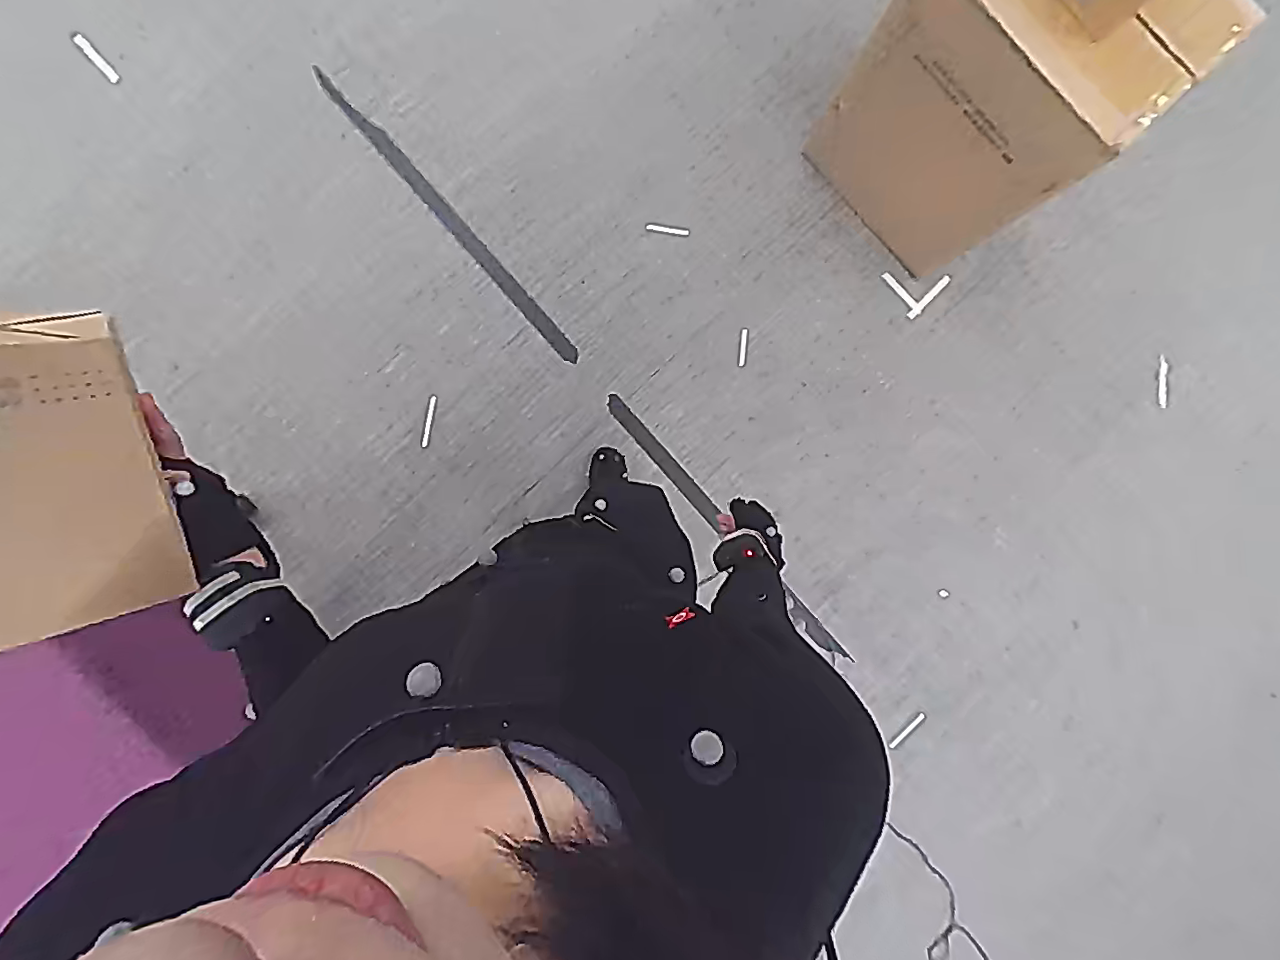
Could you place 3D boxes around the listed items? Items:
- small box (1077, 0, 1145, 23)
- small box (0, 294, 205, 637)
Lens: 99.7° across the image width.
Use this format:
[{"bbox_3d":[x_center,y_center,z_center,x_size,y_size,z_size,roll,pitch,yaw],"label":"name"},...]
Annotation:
[{"bbox_3d":[0.834,-0.907,0.882,0.168,0.176,0.179,-43,93,-2],"label":"small box"},{"bbox_3d":[-0.399,-0.018,0.327,0.168,0.179,0.176,-20,120,-37],"label":"small box"}]
